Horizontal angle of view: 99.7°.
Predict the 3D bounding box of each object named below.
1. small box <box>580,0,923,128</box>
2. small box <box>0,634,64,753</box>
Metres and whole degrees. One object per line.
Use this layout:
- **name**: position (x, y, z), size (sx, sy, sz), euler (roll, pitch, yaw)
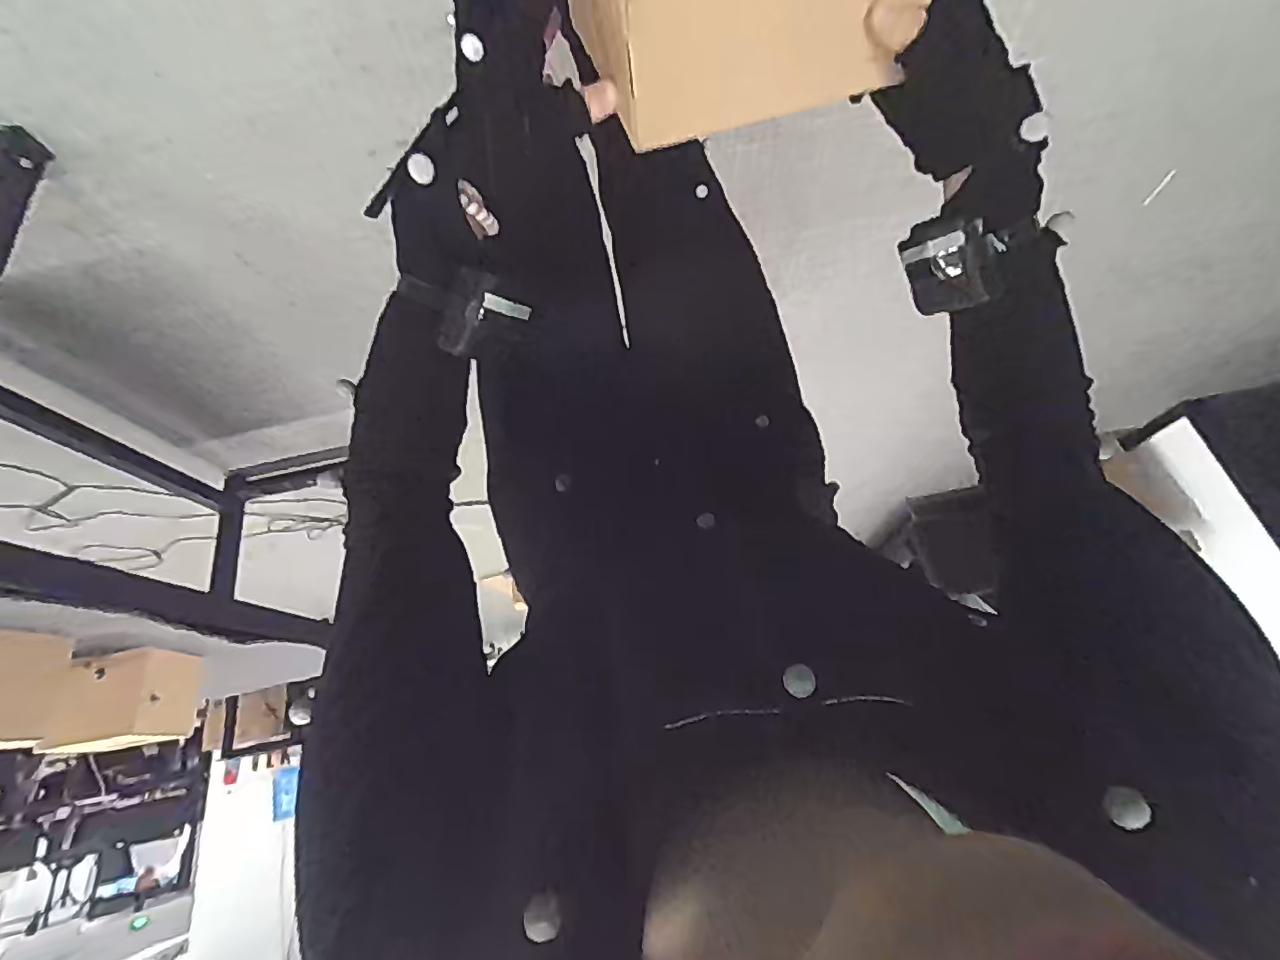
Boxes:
- **small box**: position (0.051, -0.338, 0.291), size (0.179, 0.176, 0.168), euler (-16, 153, -1)
- **small box**: position (-1.061, 0.333, 0.826), size (0.168, 0.176, 0.179), euler (-12, 156, 2)
